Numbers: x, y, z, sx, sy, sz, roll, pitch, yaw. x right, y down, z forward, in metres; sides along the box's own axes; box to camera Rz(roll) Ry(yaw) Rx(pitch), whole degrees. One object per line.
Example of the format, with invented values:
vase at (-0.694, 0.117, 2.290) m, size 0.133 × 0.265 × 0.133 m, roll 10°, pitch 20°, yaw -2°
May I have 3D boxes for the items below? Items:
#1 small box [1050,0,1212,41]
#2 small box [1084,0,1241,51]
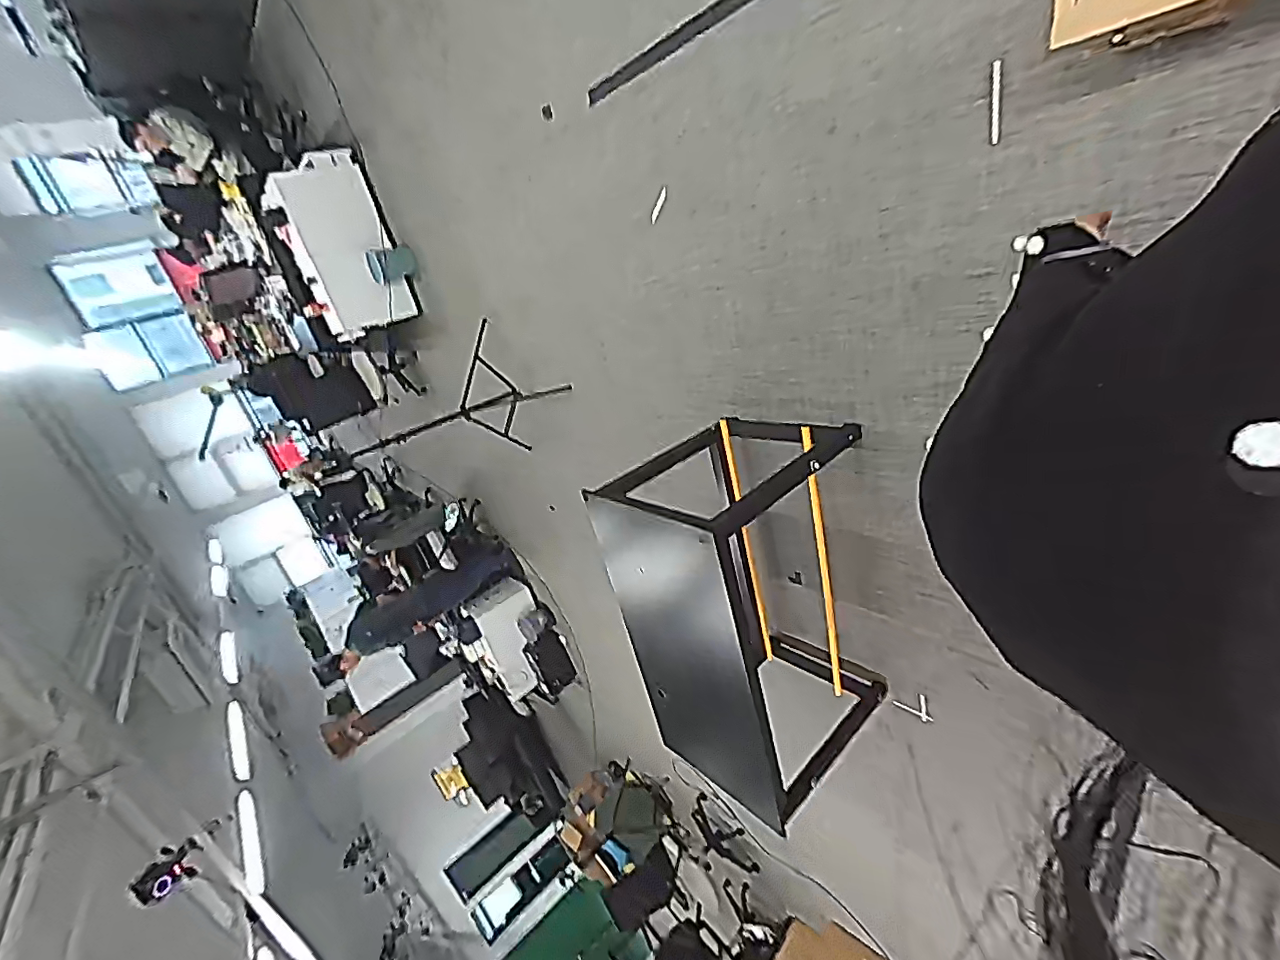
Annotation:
small box at (0.717, -0.749, 0.762) m, size 0.179 × 0.176 × 0.168 m, roll 16°, pitch 129°, yaw 48°
small box at (0.839, -0.815, 0.852) m, size 0.168 × 0.176 × 0.179 m, roll 18°, pitch 131°, yaw 48°
